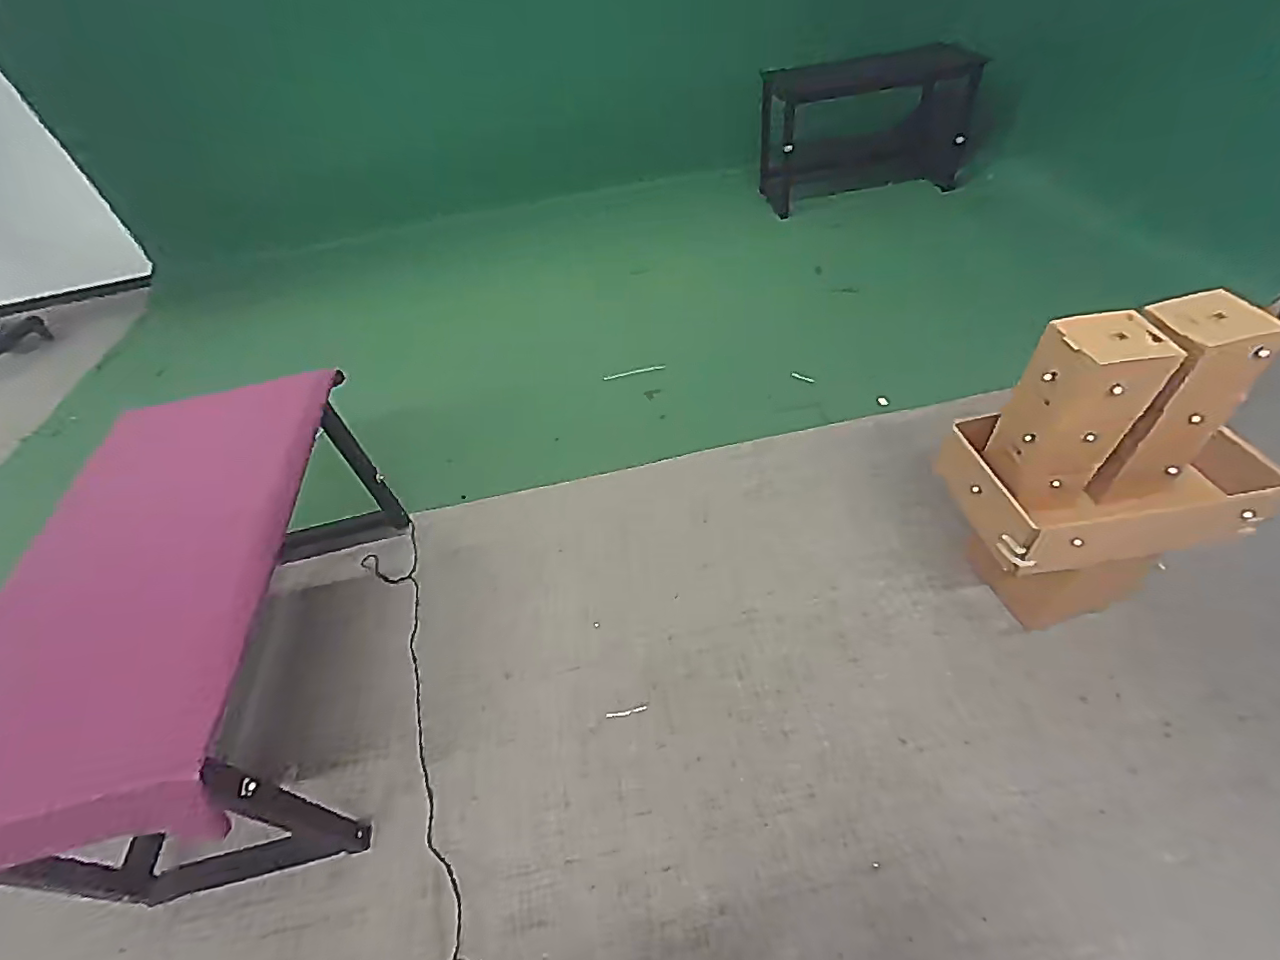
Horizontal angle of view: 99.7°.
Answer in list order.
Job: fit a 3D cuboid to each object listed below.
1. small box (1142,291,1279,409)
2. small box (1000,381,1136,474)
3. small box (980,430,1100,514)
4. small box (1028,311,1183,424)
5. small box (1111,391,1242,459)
[{"bbox_3d":[1.198,-0.279,1.174,0.179,0.176,0.168,-13,47,1],"label":"small box"},{"bbox_3d":[0.999,-0.130,1.289,0.179,0.176,0.168,-7,48,2],"label":"small box"},{"bbox_3d":[1.026,-0.028,1.414,0.179,0.176,0.168,-9,47,0],"label":"small box"},{"bbox_3d":[0.980,-0.237,1.167,0.179,0.176,0.168,-7,48,4],"label":"small box"},{"bbox_3d":[1.237,-0.173,1.295,0.179,0.176,0.168,-11,48,3],"label":"small box"}]
